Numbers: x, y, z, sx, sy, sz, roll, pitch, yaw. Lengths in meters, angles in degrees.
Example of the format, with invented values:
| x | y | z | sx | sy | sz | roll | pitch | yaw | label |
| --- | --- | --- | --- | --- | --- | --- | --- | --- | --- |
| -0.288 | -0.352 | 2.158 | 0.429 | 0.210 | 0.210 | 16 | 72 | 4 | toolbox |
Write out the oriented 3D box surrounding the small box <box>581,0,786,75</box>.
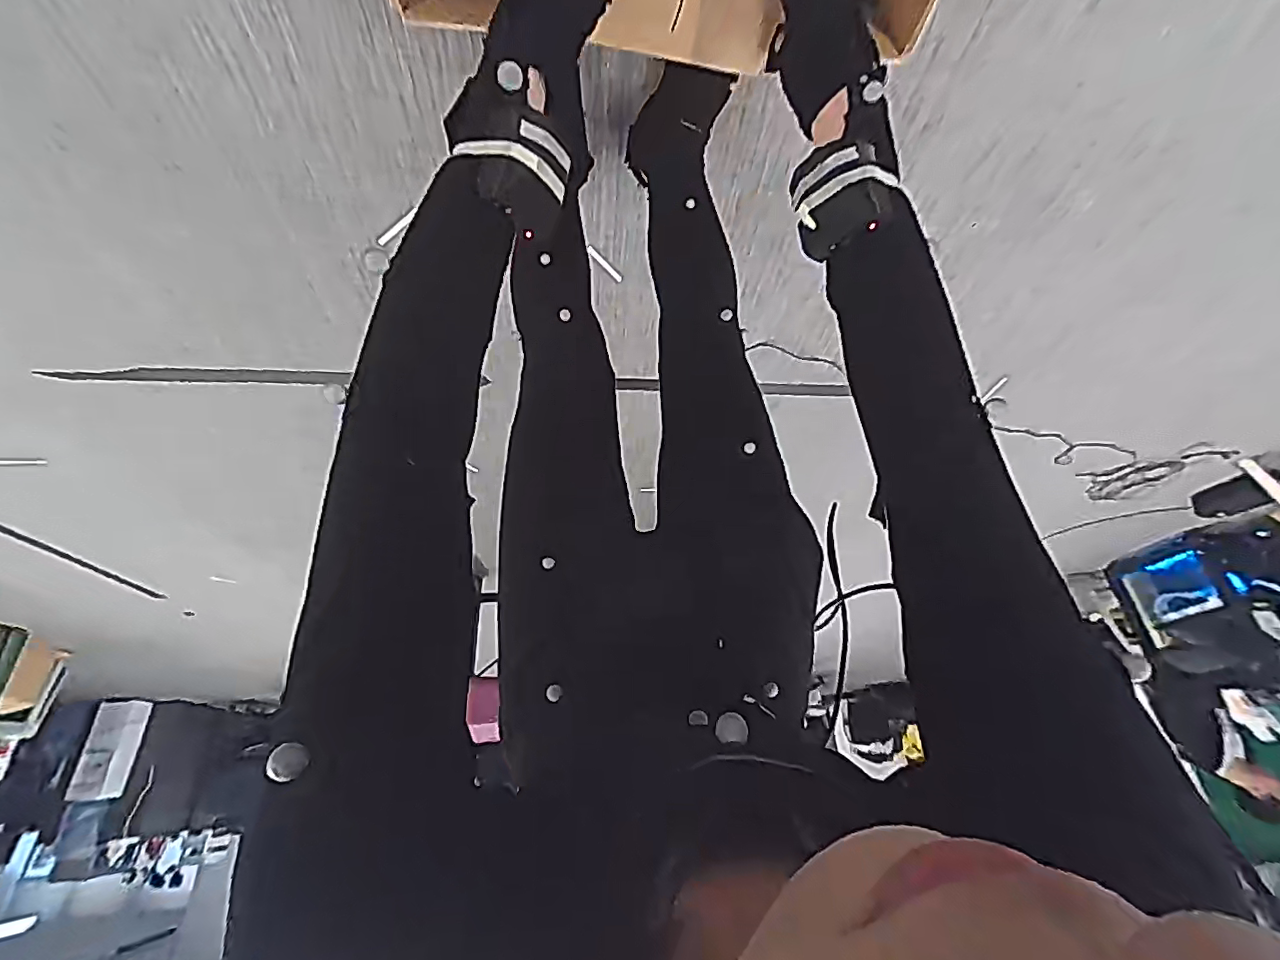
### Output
| x | y | z | sx | sy | sz | roll | pitch | yaw | label |
| --- | --- | --- | --- | --- | --- | --- | --- | --- | --- |
| 0.044 | -0.480 | 0.433 | 0.168 | 0.176 | 0.179 | 5 | 153 | -9 | small box |
